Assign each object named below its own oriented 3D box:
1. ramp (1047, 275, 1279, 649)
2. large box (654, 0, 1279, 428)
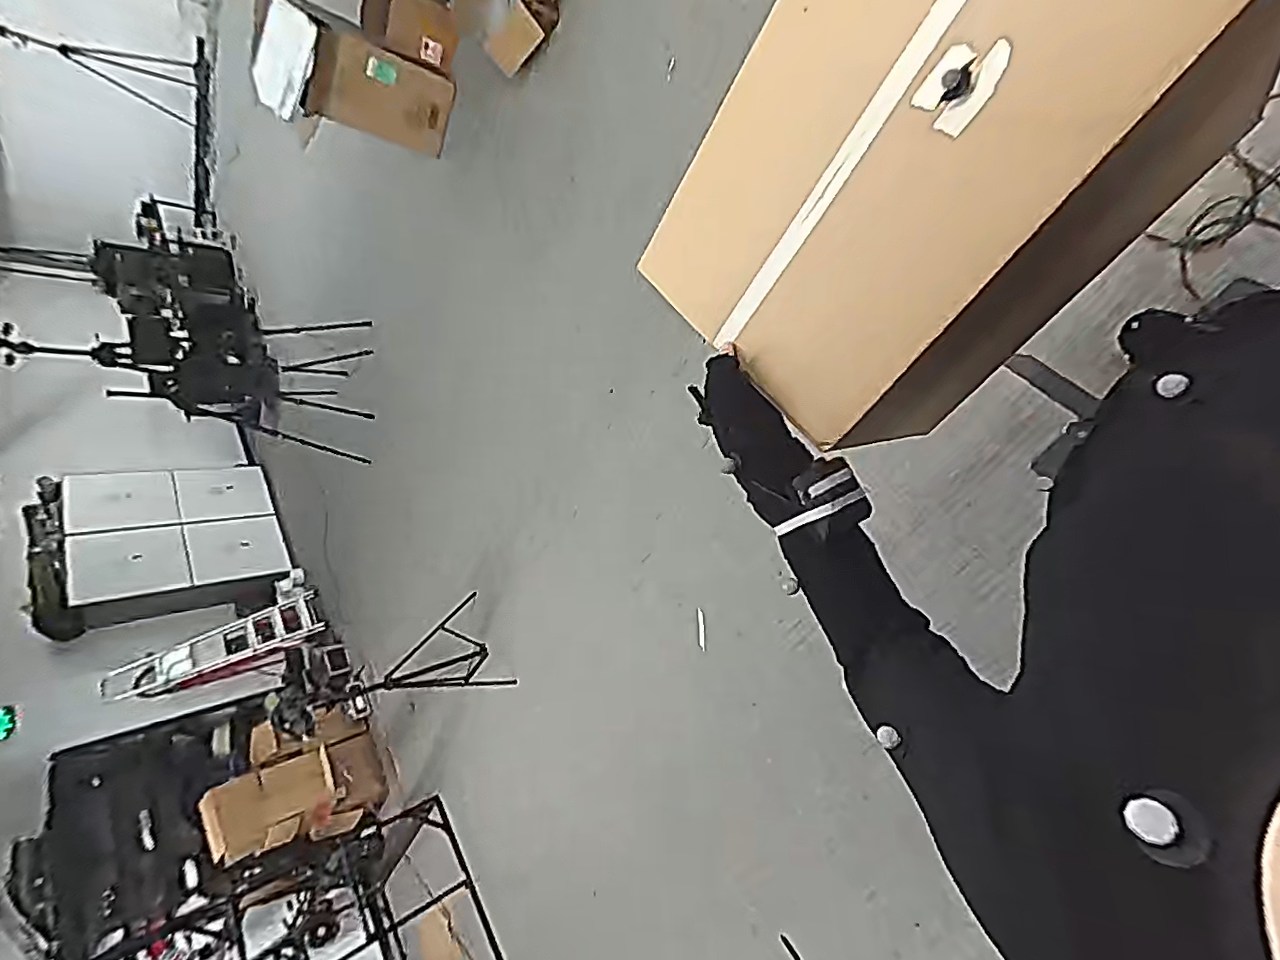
[{"bbox_3d":[1.251,0.126,0.841,0.991,0.206,0.509,50,127,30],"label":"ramp"},{"bbox_3d":[0.290,-0.302,0.566,0.320,0.320,0.408,52,127,25],"label":"large box"}]
